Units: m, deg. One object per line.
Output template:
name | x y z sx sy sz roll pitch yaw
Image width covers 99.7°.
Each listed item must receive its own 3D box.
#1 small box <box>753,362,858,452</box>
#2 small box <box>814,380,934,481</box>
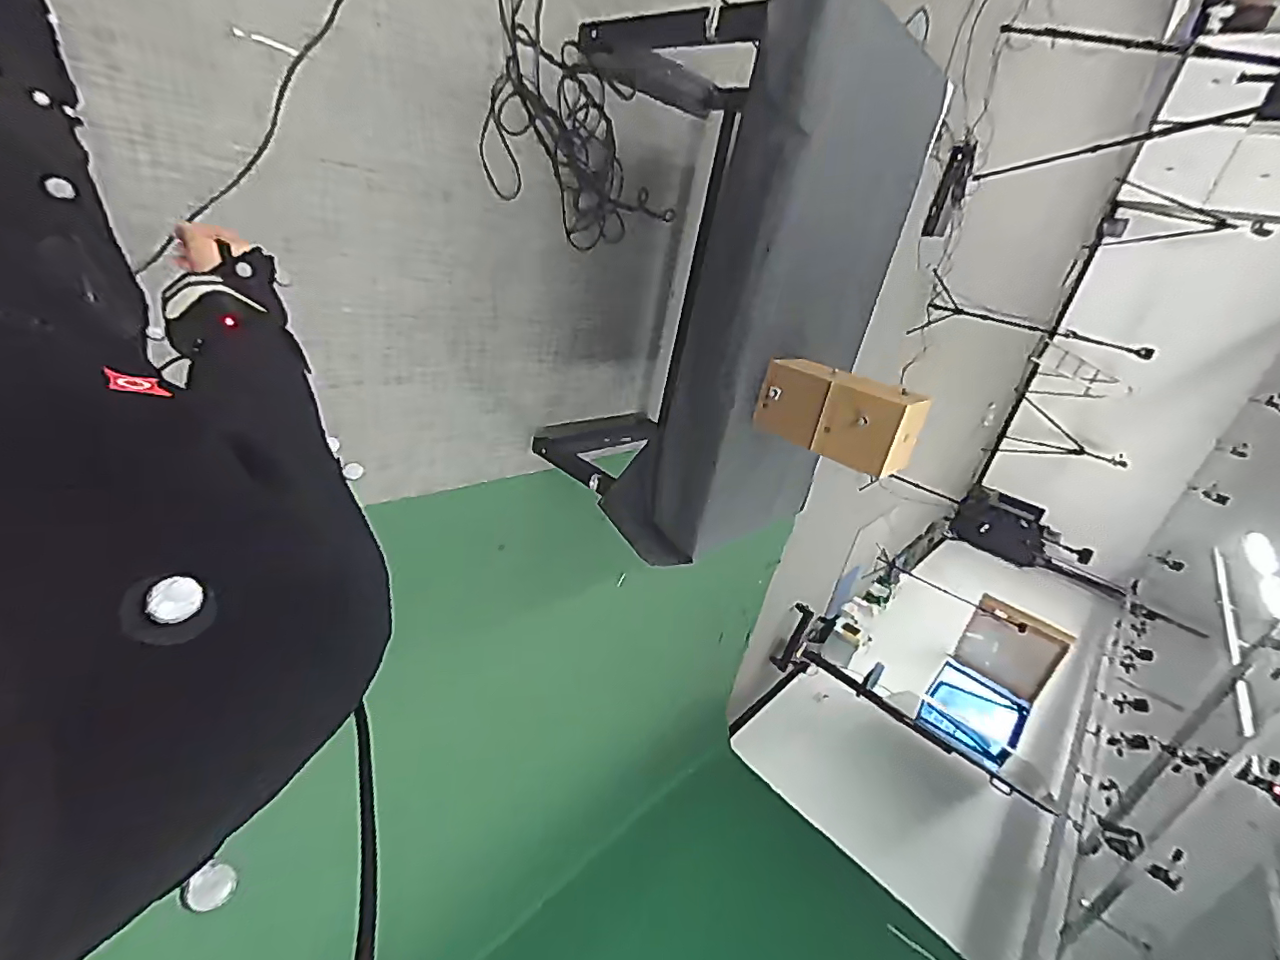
small box | 0.400 -0.182 1.295 0.179 0.176 0.168 -13 124 -45
small box | 0.510 -0.117 1.193 0.179 0.176 0.168 -16 125 -45
